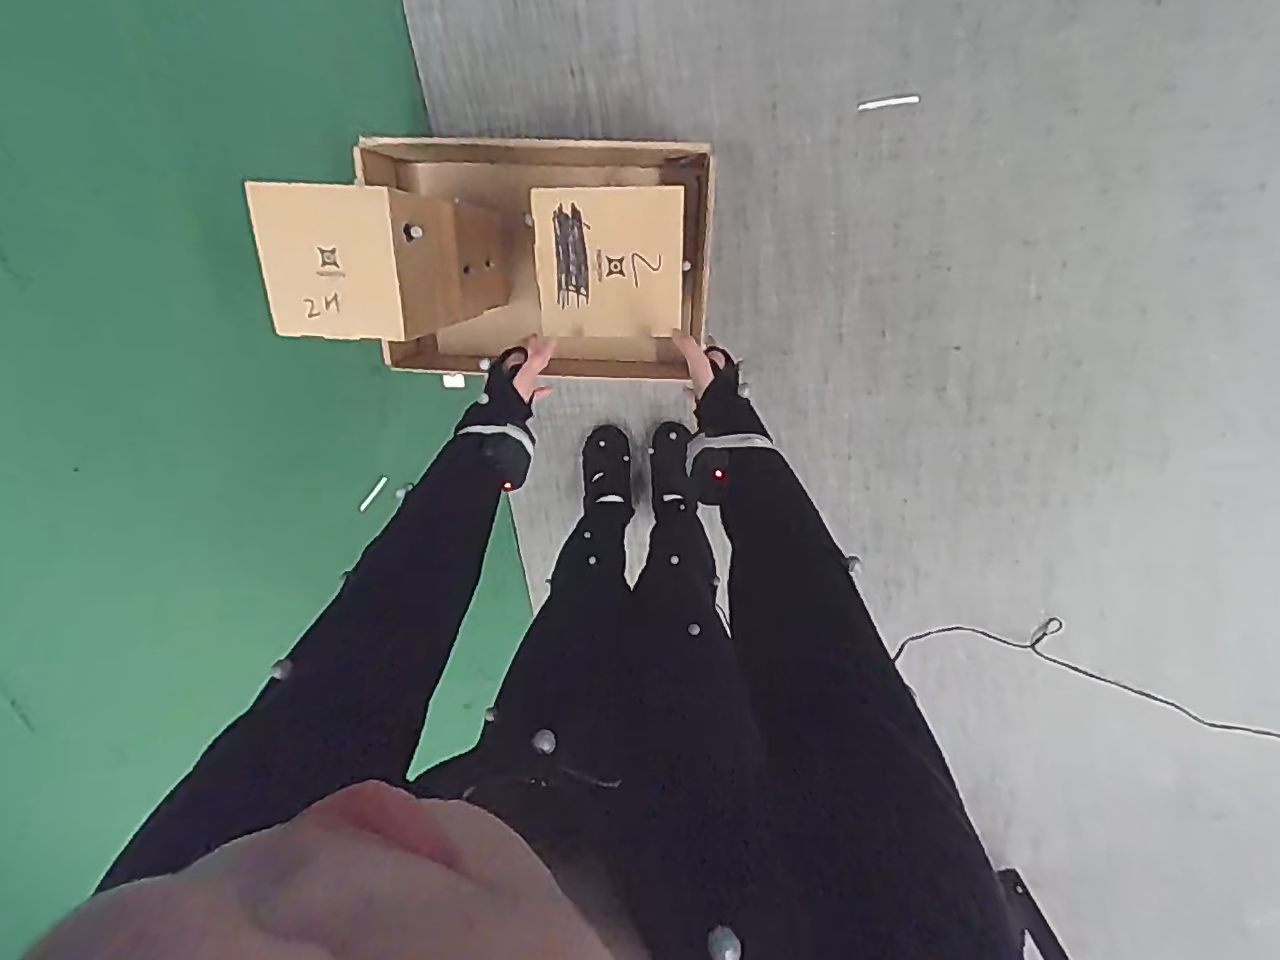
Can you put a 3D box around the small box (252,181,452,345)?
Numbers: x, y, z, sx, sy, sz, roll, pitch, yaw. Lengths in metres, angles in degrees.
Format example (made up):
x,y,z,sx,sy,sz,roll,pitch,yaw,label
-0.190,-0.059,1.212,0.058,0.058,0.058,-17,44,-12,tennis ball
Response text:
x,y,z,sx,sy,sz,roll,pitch,yaw,label
-0.364,-0.285,0.720,0.168,0.176,0.179,3,113,0,small box

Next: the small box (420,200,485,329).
x,y,z,sx,sy,sz,roll,pitch,yaw,label
-0.355,-0.350,0.871,0.168,0.176,0.179,5,113,-1,small box

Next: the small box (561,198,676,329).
x,y,z,sx,sy,sz,roll,pitch,yaw,label
-0.030,-0.341,0.859,0.168,0.176,0.179,2,113,3,small box
